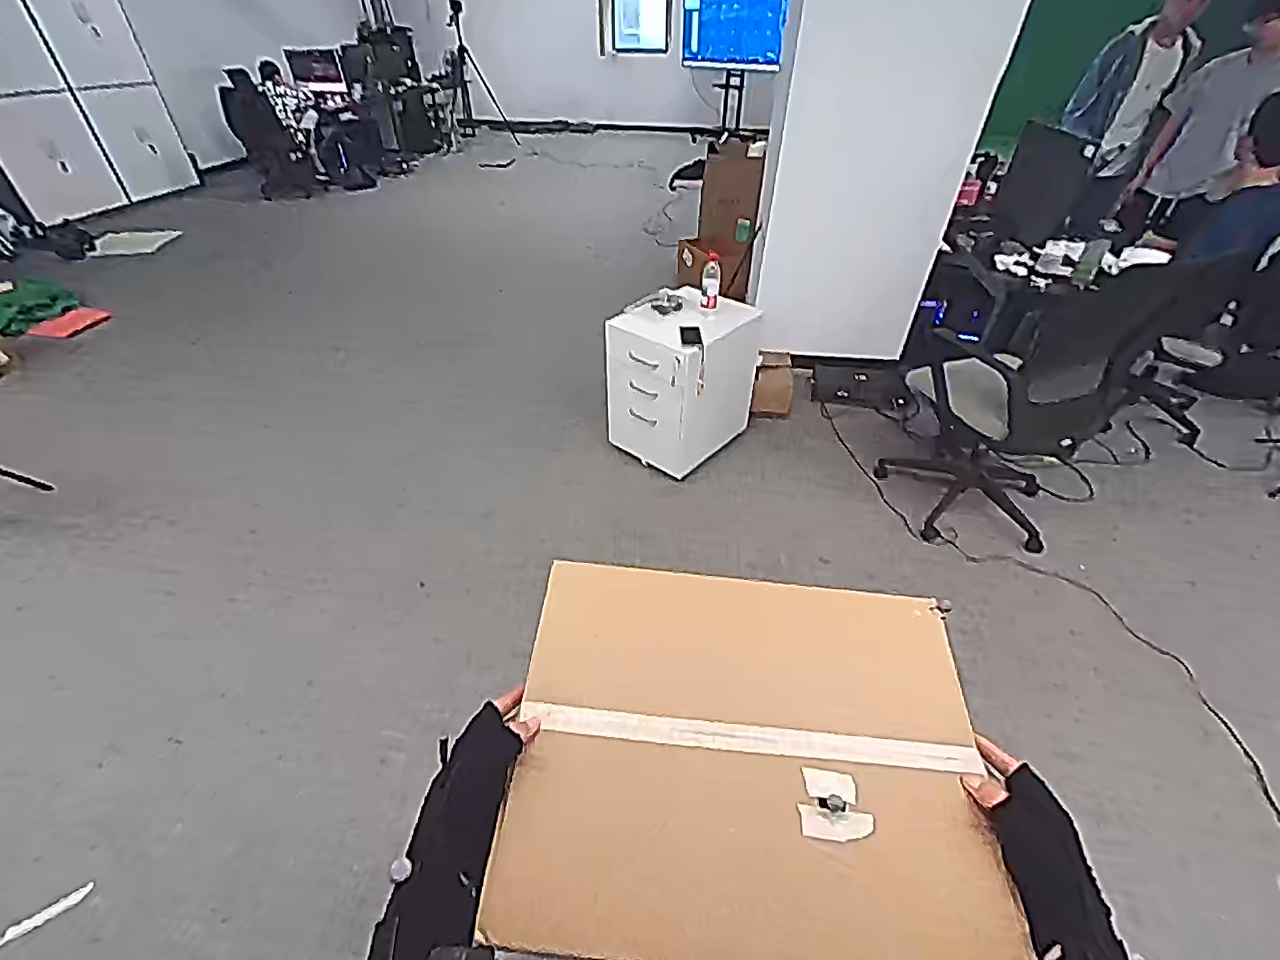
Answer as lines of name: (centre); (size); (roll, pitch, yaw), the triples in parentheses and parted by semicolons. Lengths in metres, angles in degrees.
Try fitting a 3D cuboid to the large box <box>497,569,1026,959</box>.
large box: (0.091, 0.322, 0.605); (0.408, 0.320, 0.320); (5, 52, 1)
